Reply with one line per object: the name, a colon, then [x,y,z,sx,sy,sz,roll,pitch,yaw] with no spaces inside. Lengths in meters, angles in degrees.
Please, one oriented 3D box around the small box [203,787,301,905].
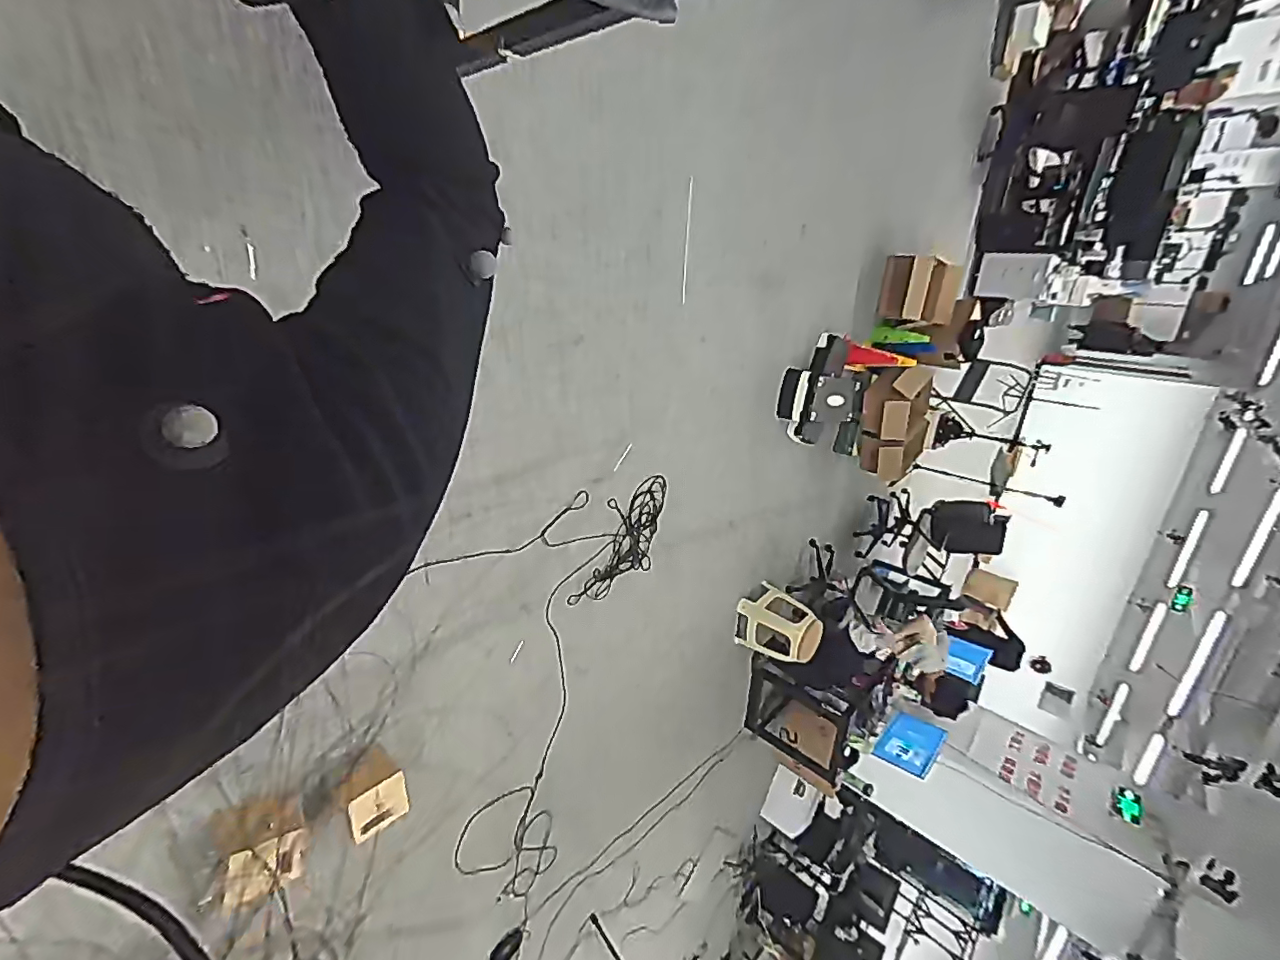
small box: [-1.058,0.981,1.472,0.179,0.176,0.168,3,103,-49]
